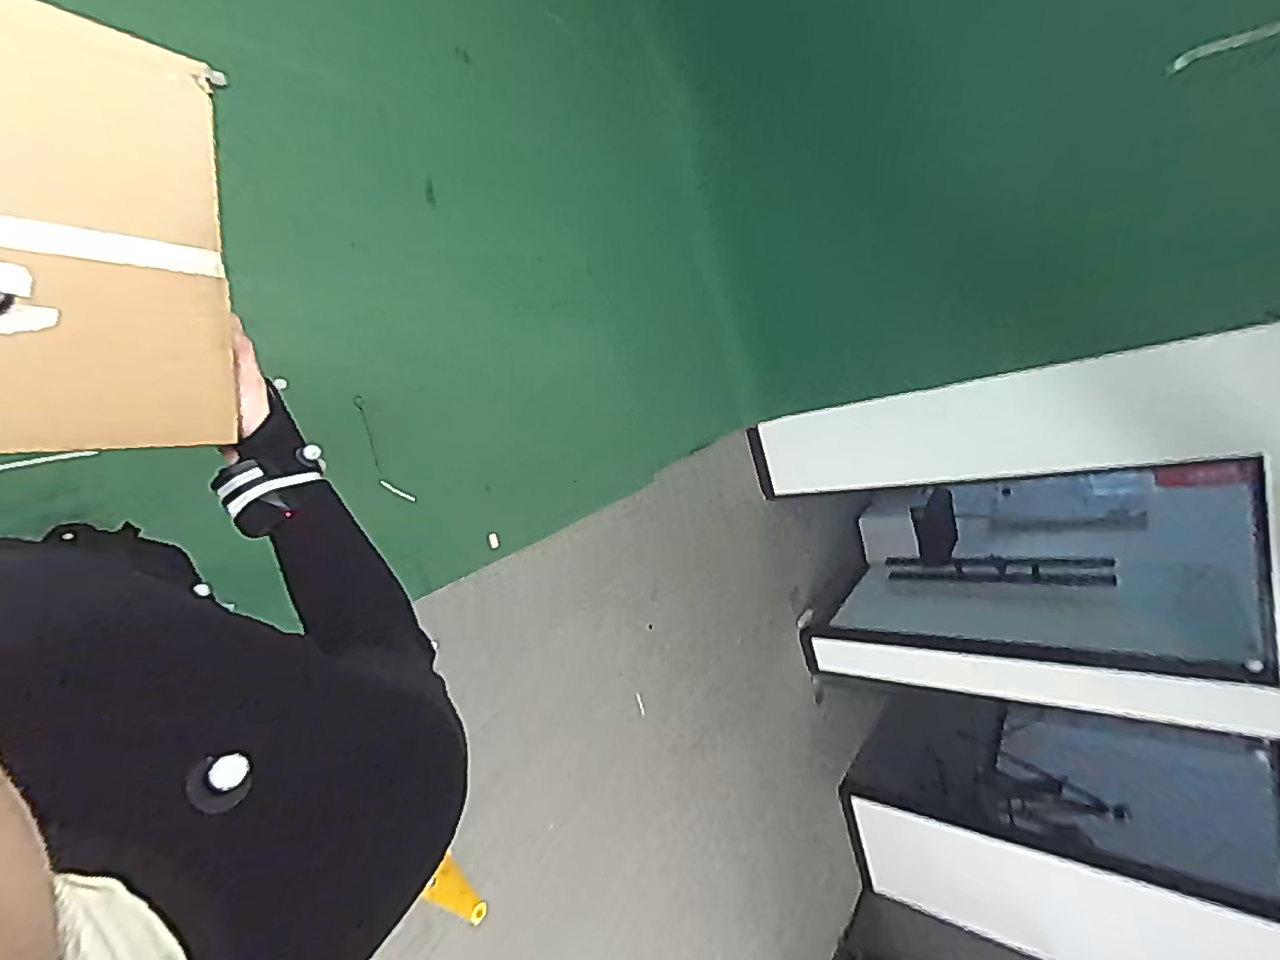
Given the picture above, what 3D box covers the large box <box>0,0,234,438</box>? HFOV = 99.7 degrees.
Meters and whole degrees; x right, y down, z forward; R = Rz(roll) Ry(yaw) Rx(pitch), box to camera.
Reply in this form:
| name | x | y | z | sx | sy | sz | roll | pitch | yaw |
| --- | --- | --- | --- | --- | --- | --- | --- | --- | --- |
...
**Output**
| name | x | y | z | sx | sy | sz | roll | pitch | yaw |
| --- | --- | --- | --- | --- | --- | --- | --- | --- | --- |
| large box | -0.613 | -0.199 | 0.419 | 0.408 | 0.320 | 0.320 | -9 | 108 | -49 |
